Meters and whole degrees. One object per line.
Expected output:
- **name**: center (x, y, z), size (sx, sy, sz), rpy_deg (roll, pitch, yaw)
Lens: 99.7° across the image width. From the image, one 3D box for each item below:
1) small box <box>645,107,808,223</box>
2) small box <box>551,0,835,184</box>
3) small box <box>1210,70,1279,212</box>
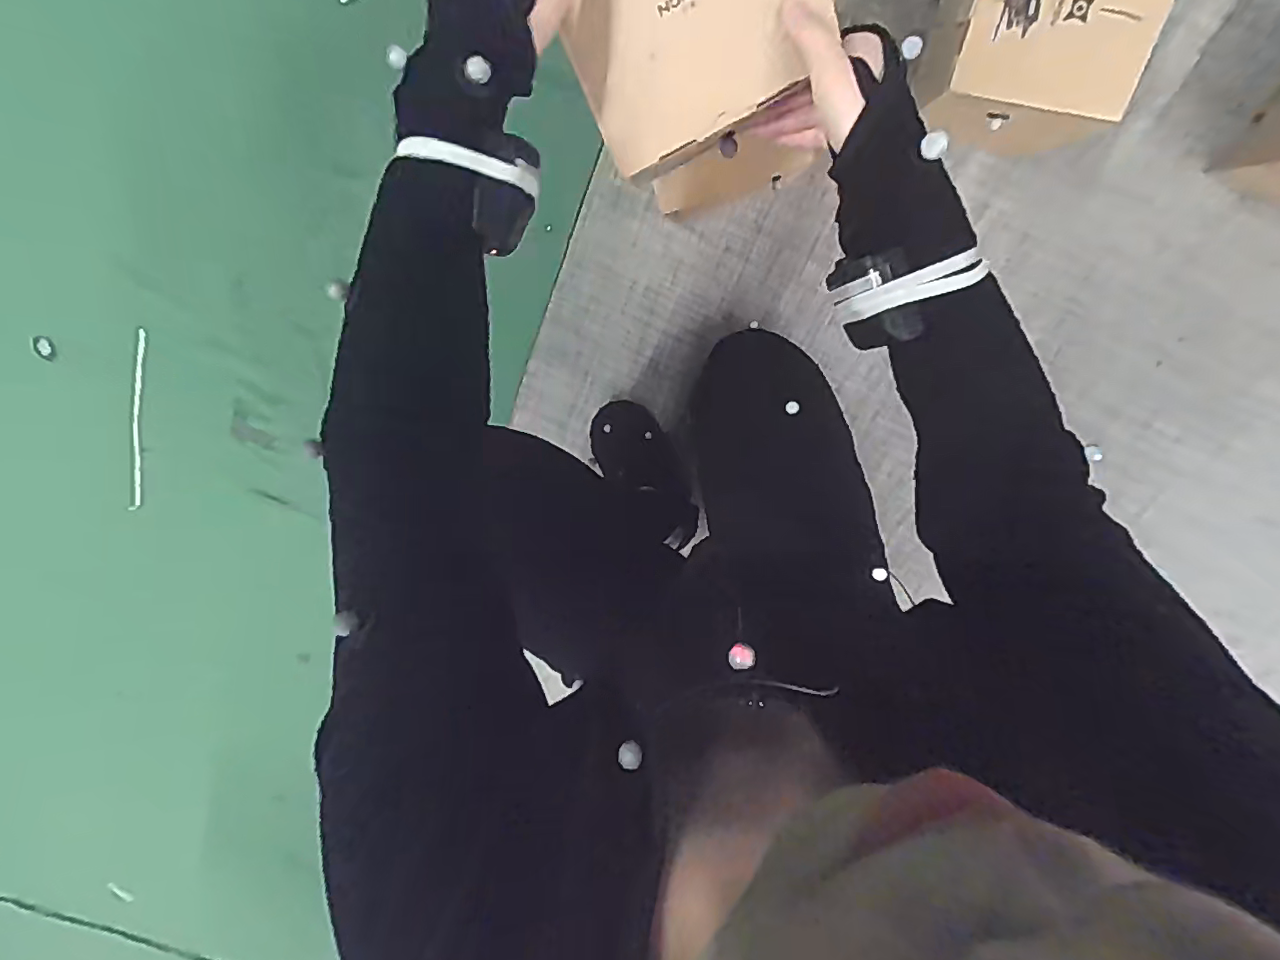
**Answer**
- **small box**: center (0.085, -0.425, 0.647), size (0.179, 0.176, 0.168), rpy_deg (-15, 108, 13)
- **small box**: center (0.038, -0.357, 0.421), size (0.168, 0.176, 0.179), rpy_deg (-18, 114, 18)
- **small box**: center (0.795, -0.382, 0.567), size (0.179, 0.176, 0.168), rpy_deg (24, 112, -2)
